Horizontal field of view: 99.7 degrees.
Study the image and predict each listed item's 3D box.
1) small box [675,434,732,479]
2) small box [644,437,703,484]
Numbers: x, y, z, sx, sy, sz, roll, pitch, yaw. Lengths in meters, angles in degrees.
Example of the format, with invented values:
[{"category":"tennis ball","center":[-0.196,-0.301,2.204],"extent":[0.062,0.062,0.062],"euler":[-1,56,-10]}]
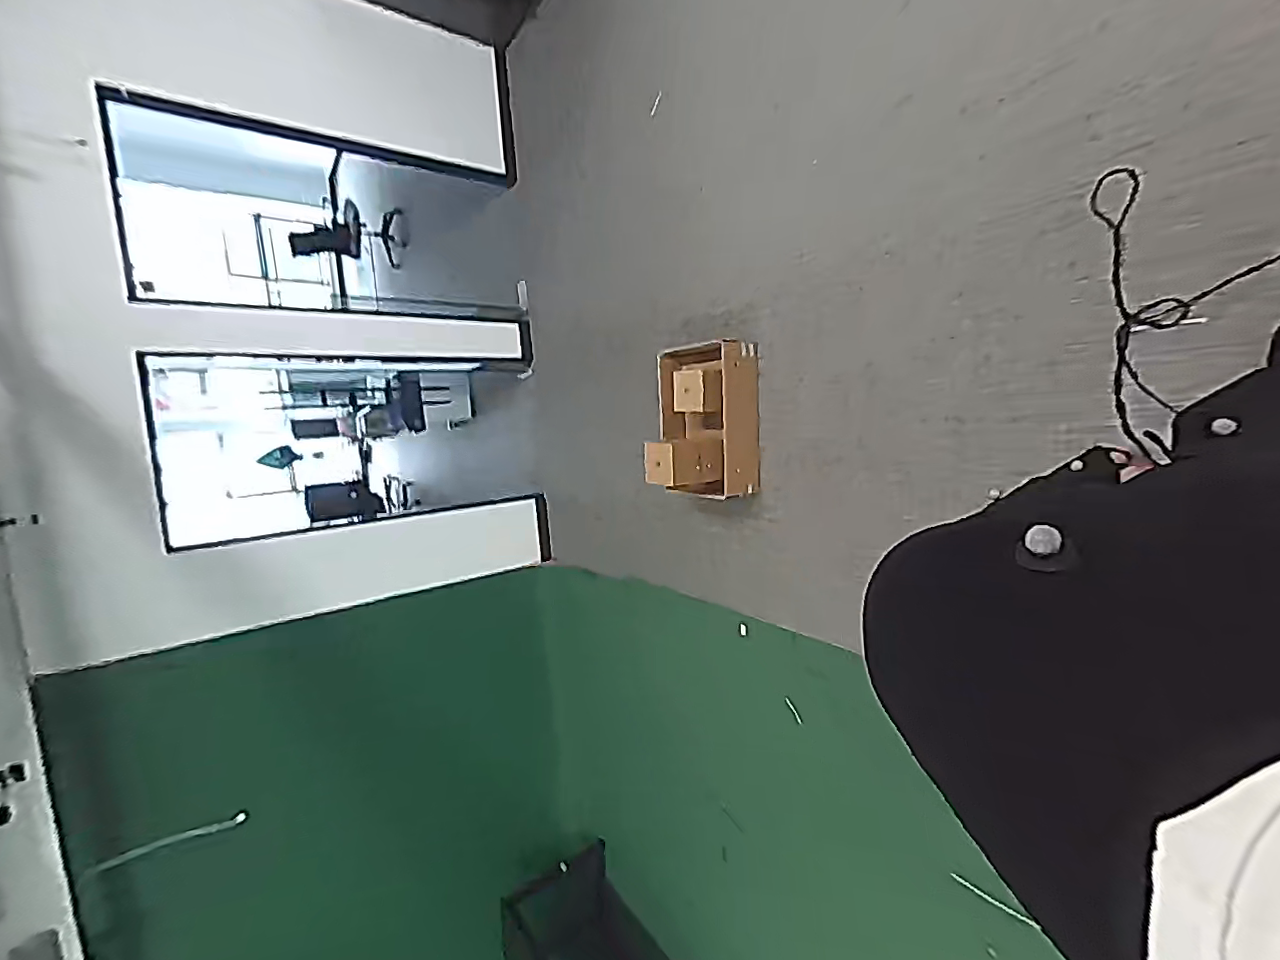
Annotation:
[{"category":"small box","center":[0.261,-0.103,2.249],"extent":[0.179,0.176,0.168],"euler":[10,106,53]},{"category":"small box","center":[0.133,-0.083,2.152],"extent":[0.179,0.176,0.168],"euler":[10,104,52]}]
